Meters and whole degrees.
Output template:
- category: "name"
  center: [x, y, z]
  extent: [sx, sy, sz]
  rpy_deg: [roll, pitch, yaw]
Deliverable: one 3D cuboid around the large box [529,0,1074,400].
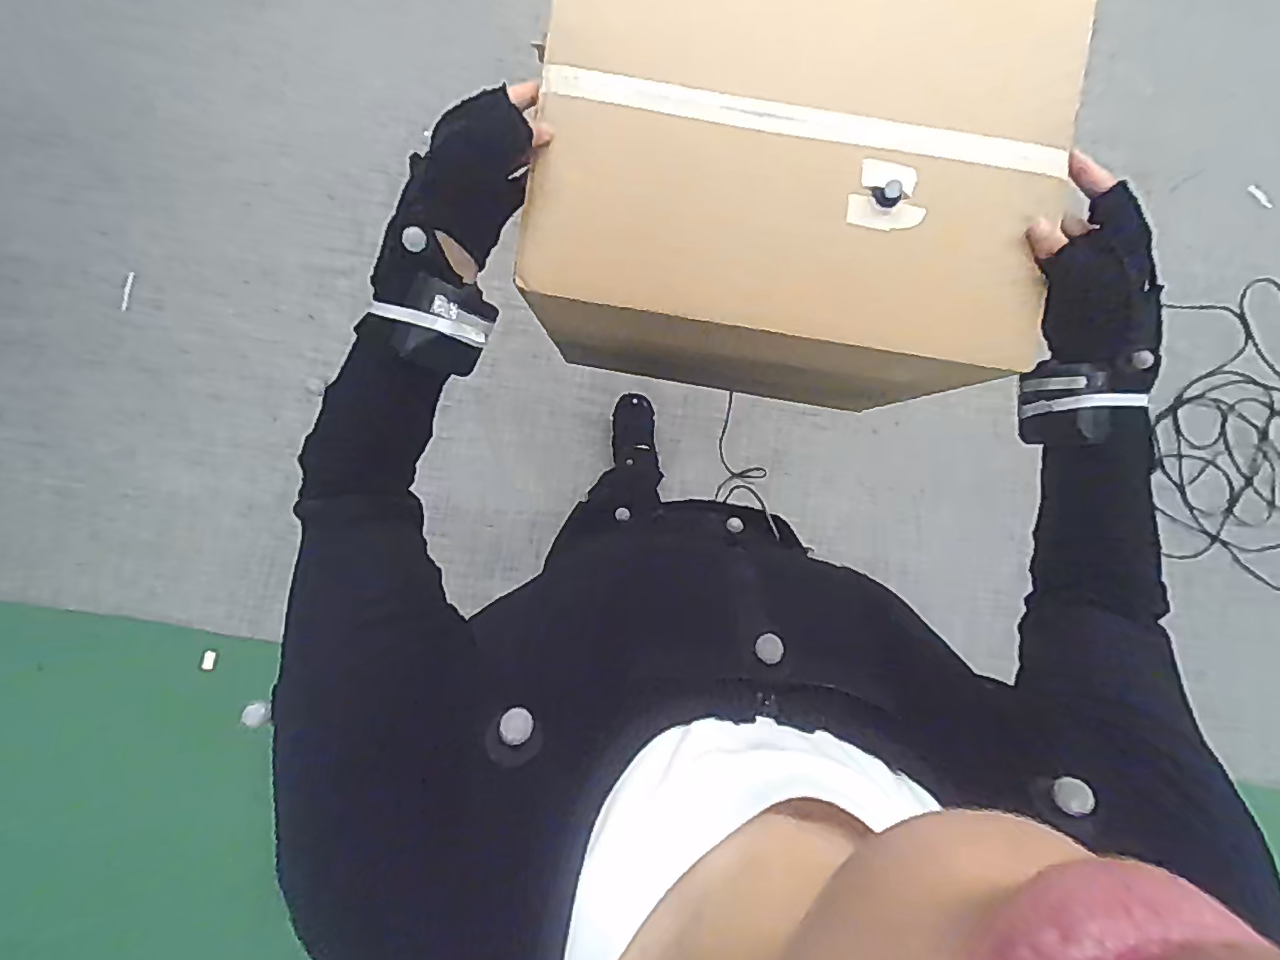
- category: "large box"
  center: [0.124, -0.280, 0.572]
  extent: [0.408, 0.320, 0.320]
  rpy_deg: [9, 92, -1]
